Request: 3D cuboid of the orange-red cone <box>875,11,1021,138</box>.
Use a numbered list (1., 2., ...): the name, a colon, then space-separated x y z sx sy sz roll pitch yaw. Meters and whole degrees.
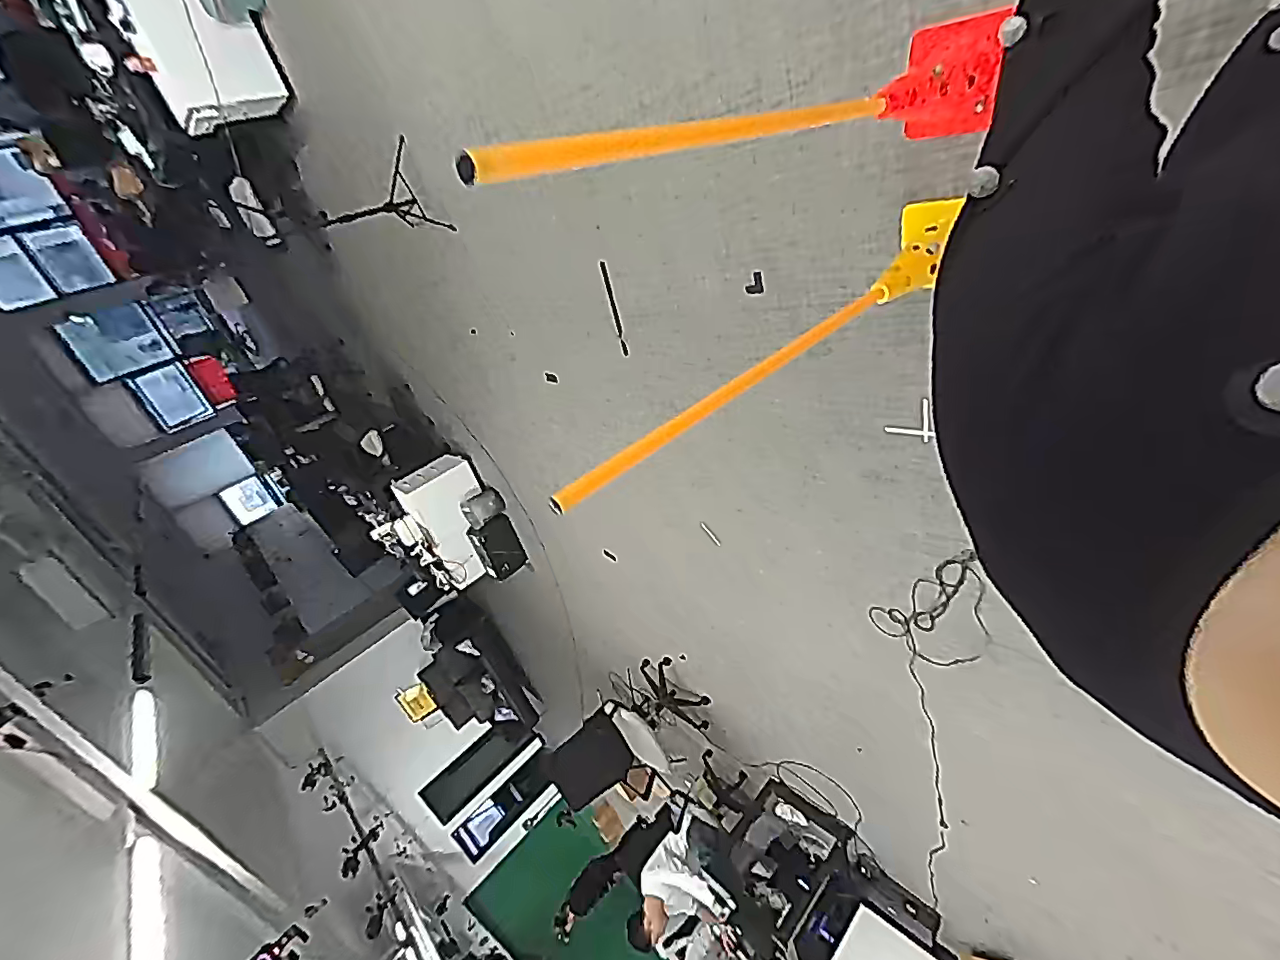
1. orange-red cone: 0.545 -0.746 1.032 0.198 0.360 0.199 23 136 40
